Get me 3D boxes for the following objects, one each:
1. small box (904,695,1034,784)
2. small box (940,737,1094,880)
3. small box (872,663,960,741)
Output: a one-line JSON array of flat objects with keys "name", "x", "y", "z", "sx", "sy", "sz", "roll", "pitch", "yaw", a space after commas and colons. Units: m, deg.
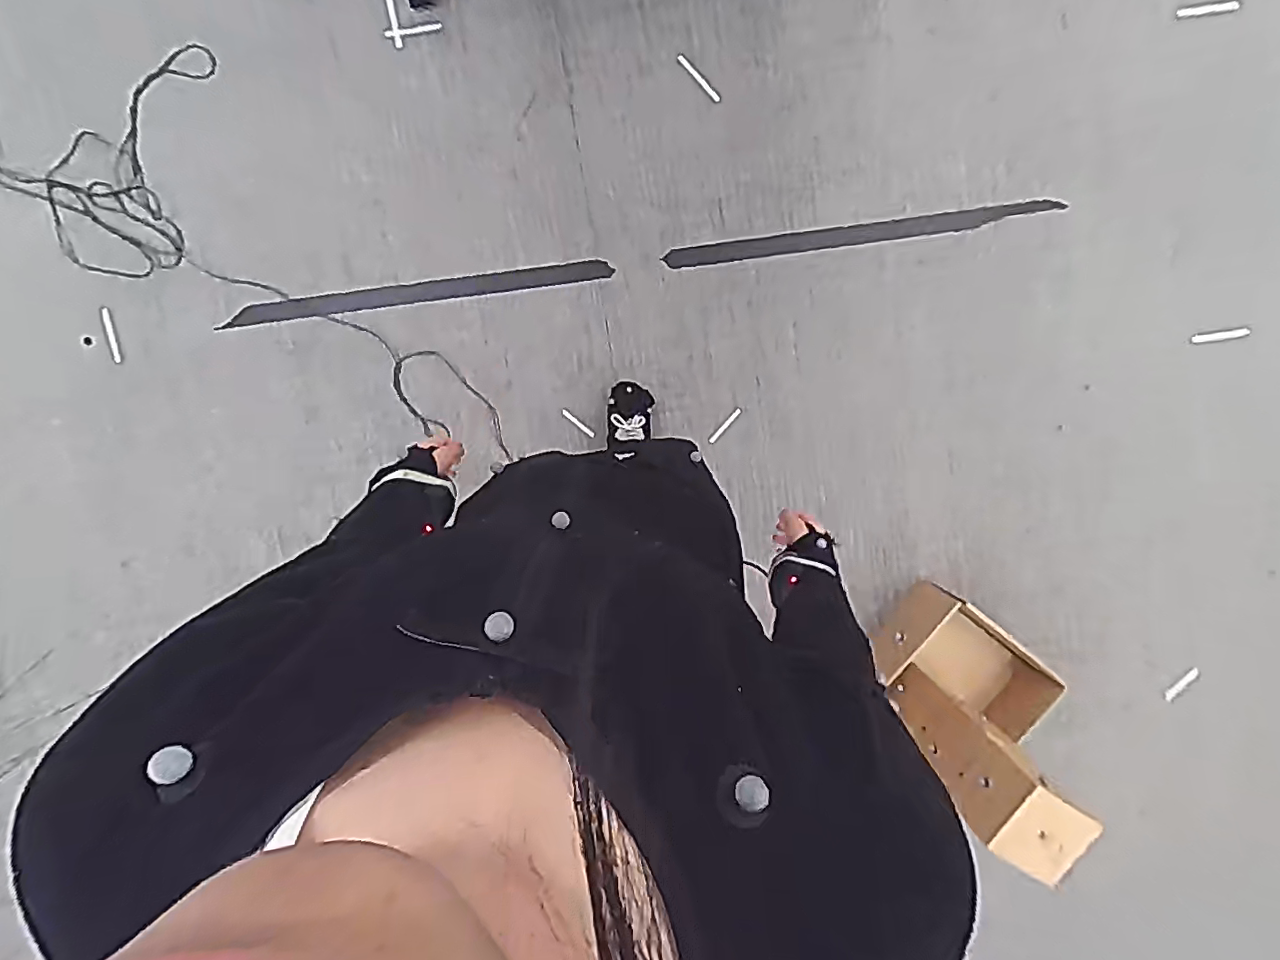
[{"name": "small box", "x": 0.794, "y": 0.662, "z": 1.326, "sx": 0.179, "sy": 0.176, "sz": 0.168, "roll": 33, "pitch": 98, "yaw": -7}, {"name": "small box", "x": 0.795, "y": 0.692, "z": 1.163, "sx": 0.179, "sy": 0.176, "sz": 0.168, "roll": 32, "pitch": 99, "yaw": -5}, {"name": "small box", "x": 0.785, "y": 0.640, "z": 1.487, "sx": 0.179, "sy": 0.176, "sz": 0.168, "roll": 38, "pitch": 96, "yaw": -6}]
